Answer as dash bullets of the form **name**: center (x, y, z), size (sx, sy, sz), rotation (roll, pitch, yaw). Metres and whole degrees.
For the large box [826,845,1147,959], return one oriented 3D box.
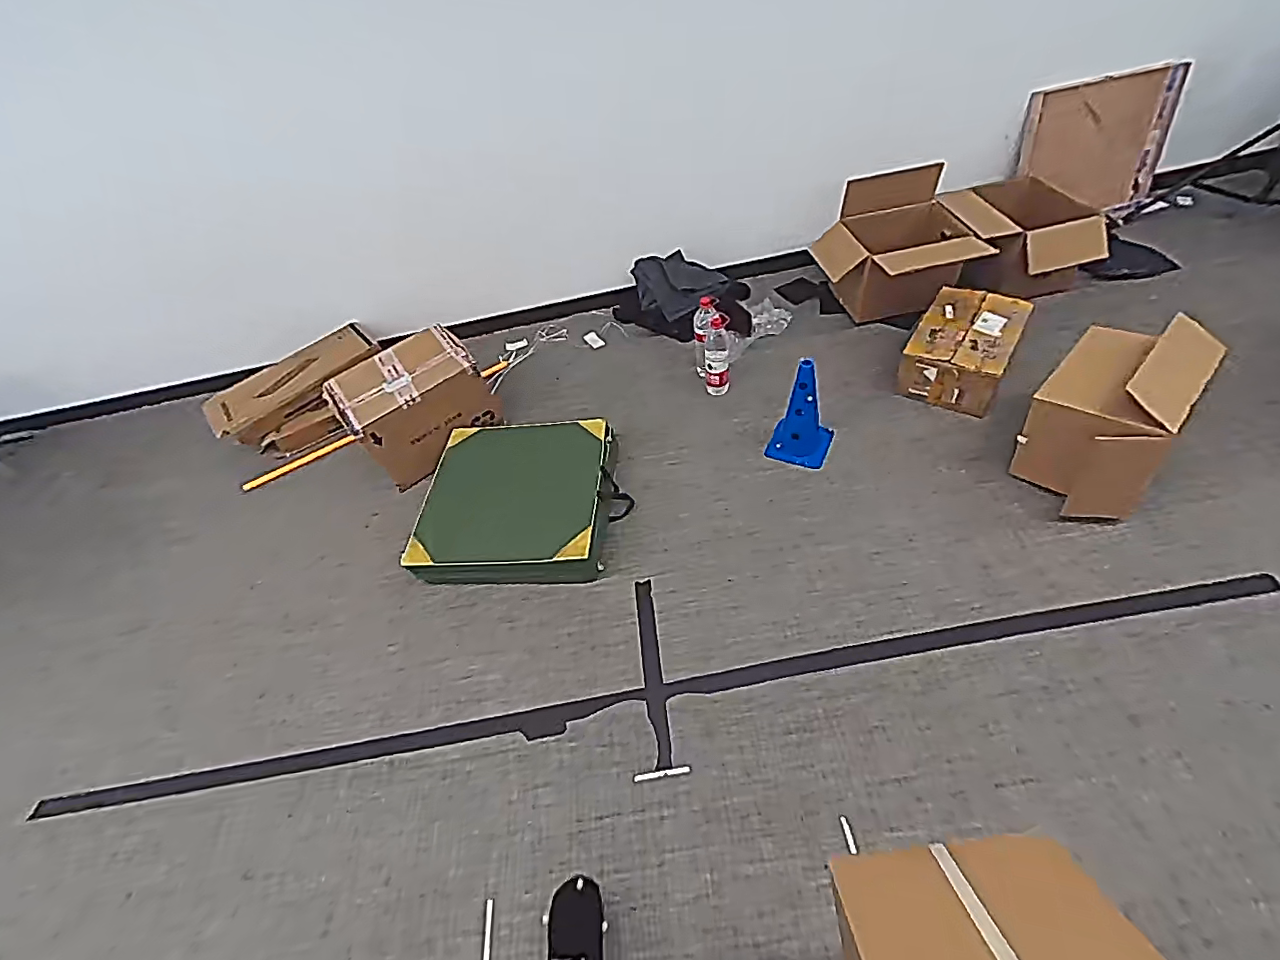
- **large box**: center (0.430, 0.699, 0.587), size (0.320, 0.408, 0.320), rotation (-11, 94, 6)
